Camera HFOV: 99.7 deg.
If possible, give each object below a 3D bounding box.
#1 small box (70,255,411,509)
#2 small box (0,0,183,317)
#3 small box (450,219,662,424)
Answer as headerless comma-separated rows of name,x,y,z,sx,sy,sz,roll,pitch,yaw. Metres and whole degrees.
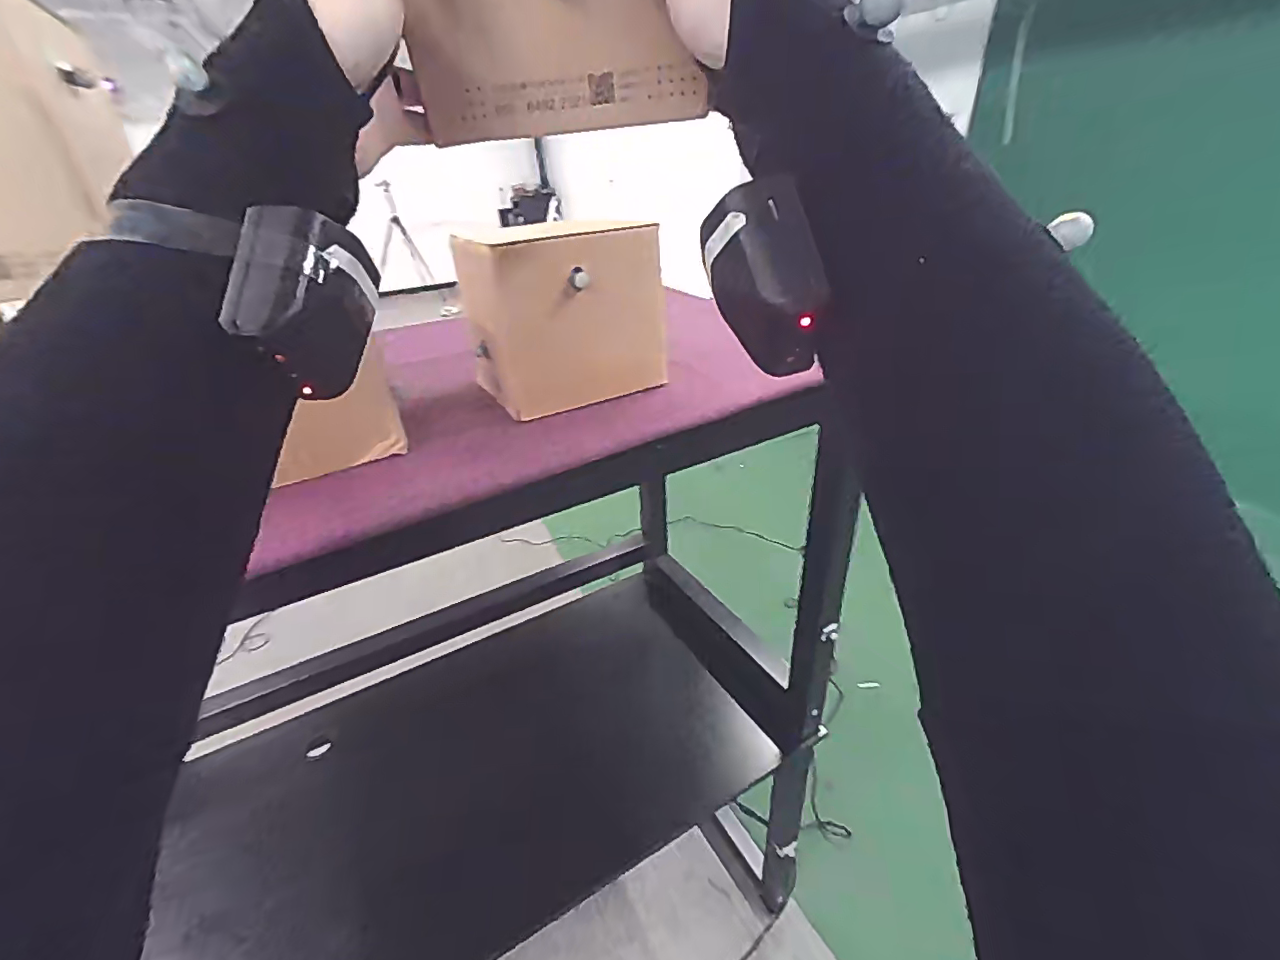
small box,-0.327,-0.096,0.484,0.179,0.176,0.168,-19,33,-23
small box,-0.453,-0.205,0.363,0.168,0.176,0.179,-17,32,-22
small box,-0.087,-0.182,0.598,0.179,0.176,0.168,-20,34,-22
